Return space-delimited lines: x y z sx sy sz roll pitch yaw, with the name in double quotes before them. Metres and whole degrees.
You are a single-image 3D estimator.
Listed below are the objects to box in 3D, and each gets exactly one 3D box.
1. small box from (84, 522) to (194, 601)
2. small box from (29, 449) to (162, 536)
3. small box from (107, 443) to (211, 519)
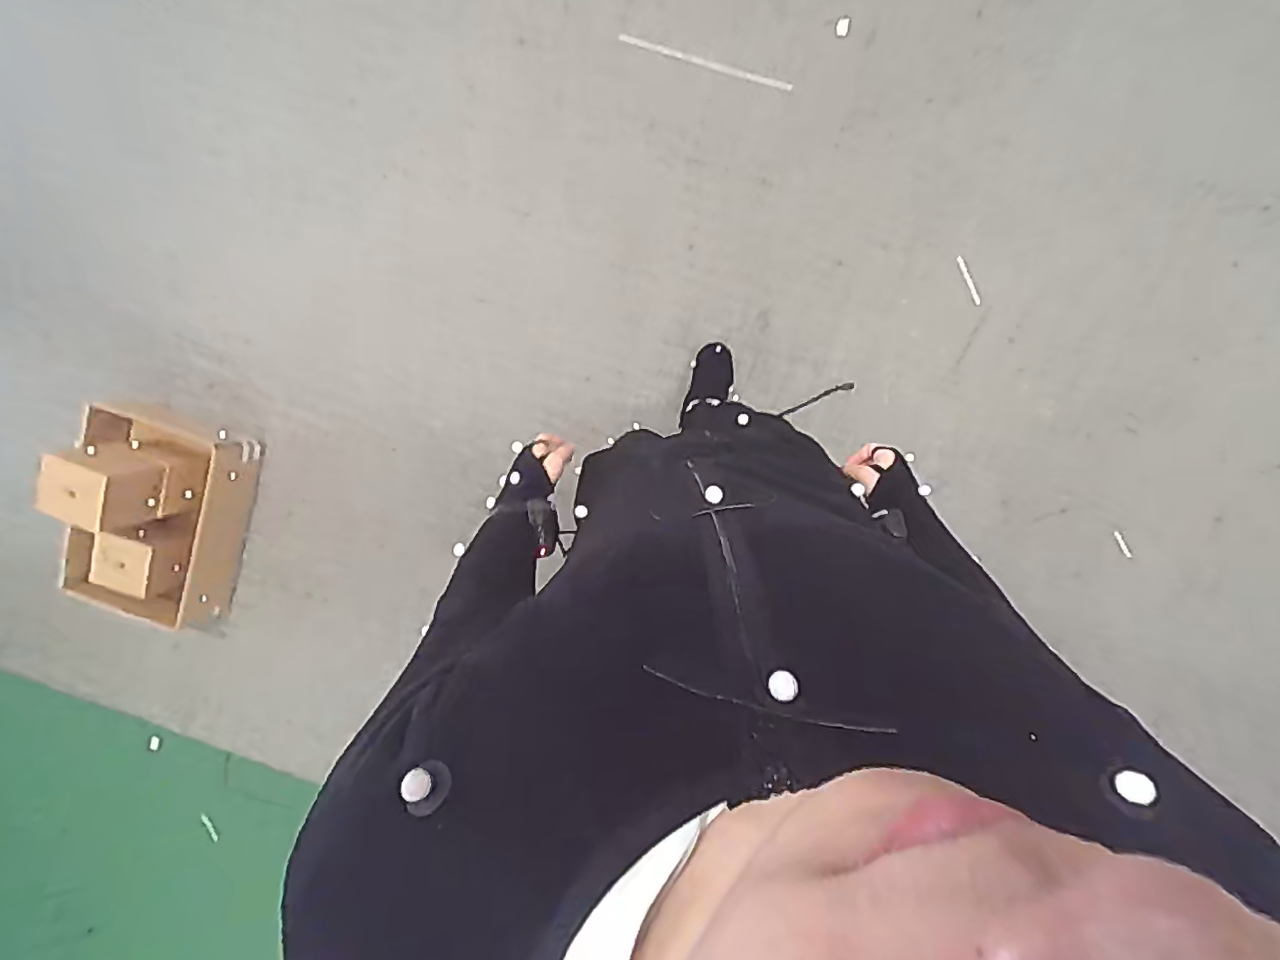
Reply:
"small box" -1.511 0.239 1.640 0.179 0.176 0.168 18 99 0
"small box" -1.439 0.024 1.436 0.179 0.176 0.168 21 102 -1
"small box" -1.425 -0.004 1.597 0.179 0.176 0.168 19 100 0
